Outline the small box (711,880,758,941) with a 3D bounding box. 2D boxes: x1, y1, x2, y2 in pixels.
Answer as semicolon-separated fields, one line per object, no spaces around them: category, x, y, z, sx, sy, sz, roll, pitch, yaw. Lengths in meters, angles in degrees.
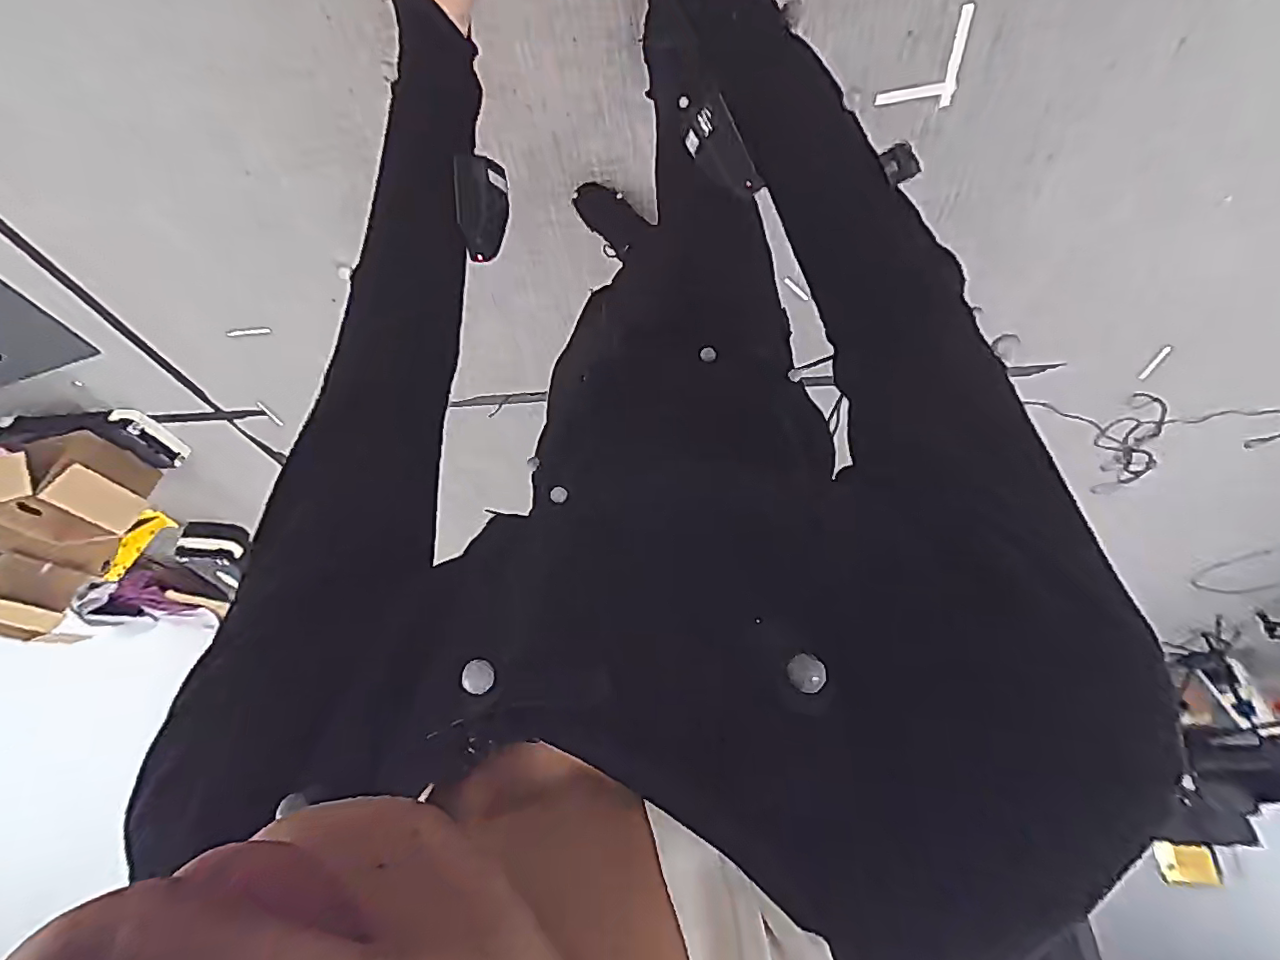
small box;0.364;1.659;2.095;0.168;0.176;0.179;-2;147;6
